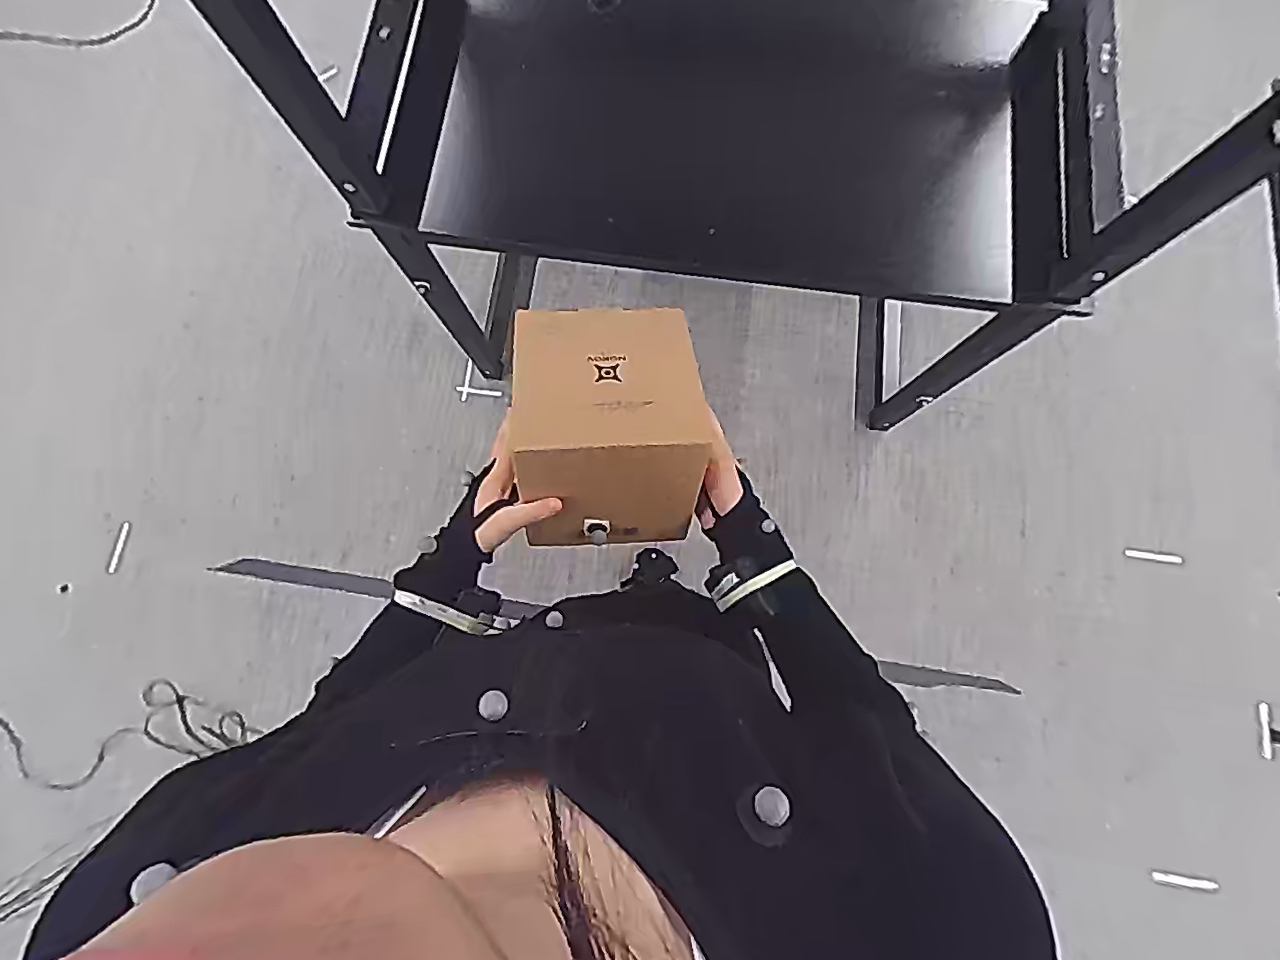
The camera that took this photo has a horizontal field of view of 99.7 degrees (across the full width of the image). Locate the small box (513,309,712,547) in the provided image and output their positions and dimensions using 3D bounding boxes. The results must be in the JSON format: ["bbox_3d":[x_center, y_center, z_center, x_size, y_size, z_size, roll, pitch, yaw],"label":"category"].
[{"bbox_3d":[-0.035,-0.051,0.550,0.168,0.176,0.179,-4,55,-7],"label":"small box"}]
